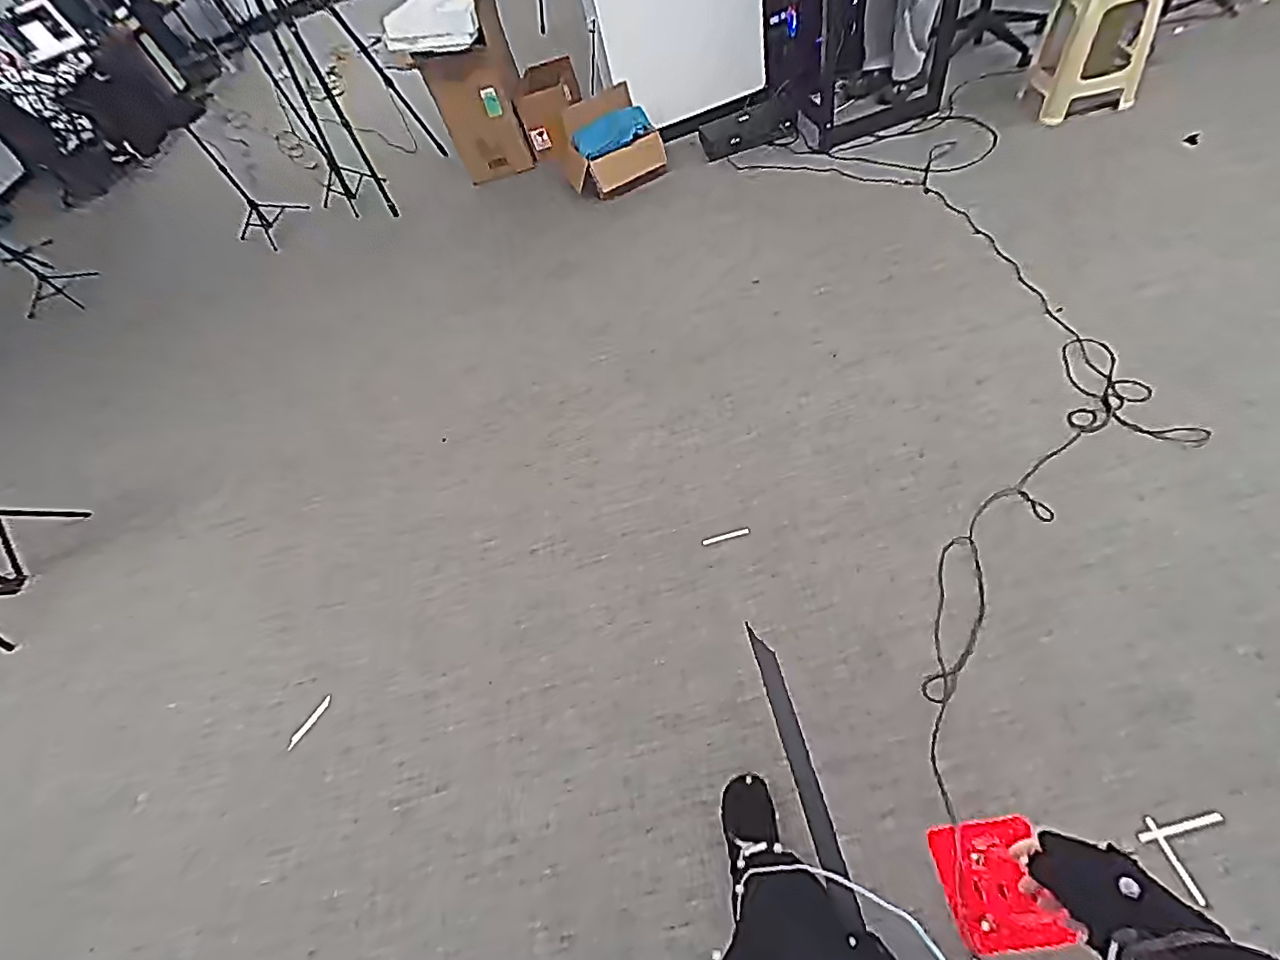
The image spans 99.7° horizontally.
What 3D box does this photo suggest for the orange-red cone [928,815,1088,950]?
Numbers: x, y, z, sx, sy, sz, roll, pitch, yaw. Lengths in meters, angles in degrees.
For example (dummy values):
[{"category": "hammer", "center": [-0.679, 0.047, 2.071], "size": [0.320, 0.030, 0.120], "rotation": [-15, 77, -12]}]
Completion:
[{"category": "orange-red cone", "center": [0.640, 0.669, 0.890], "size": [0.199, 0.360, 0.198], "rotation": [-12, 55, 7]}]
